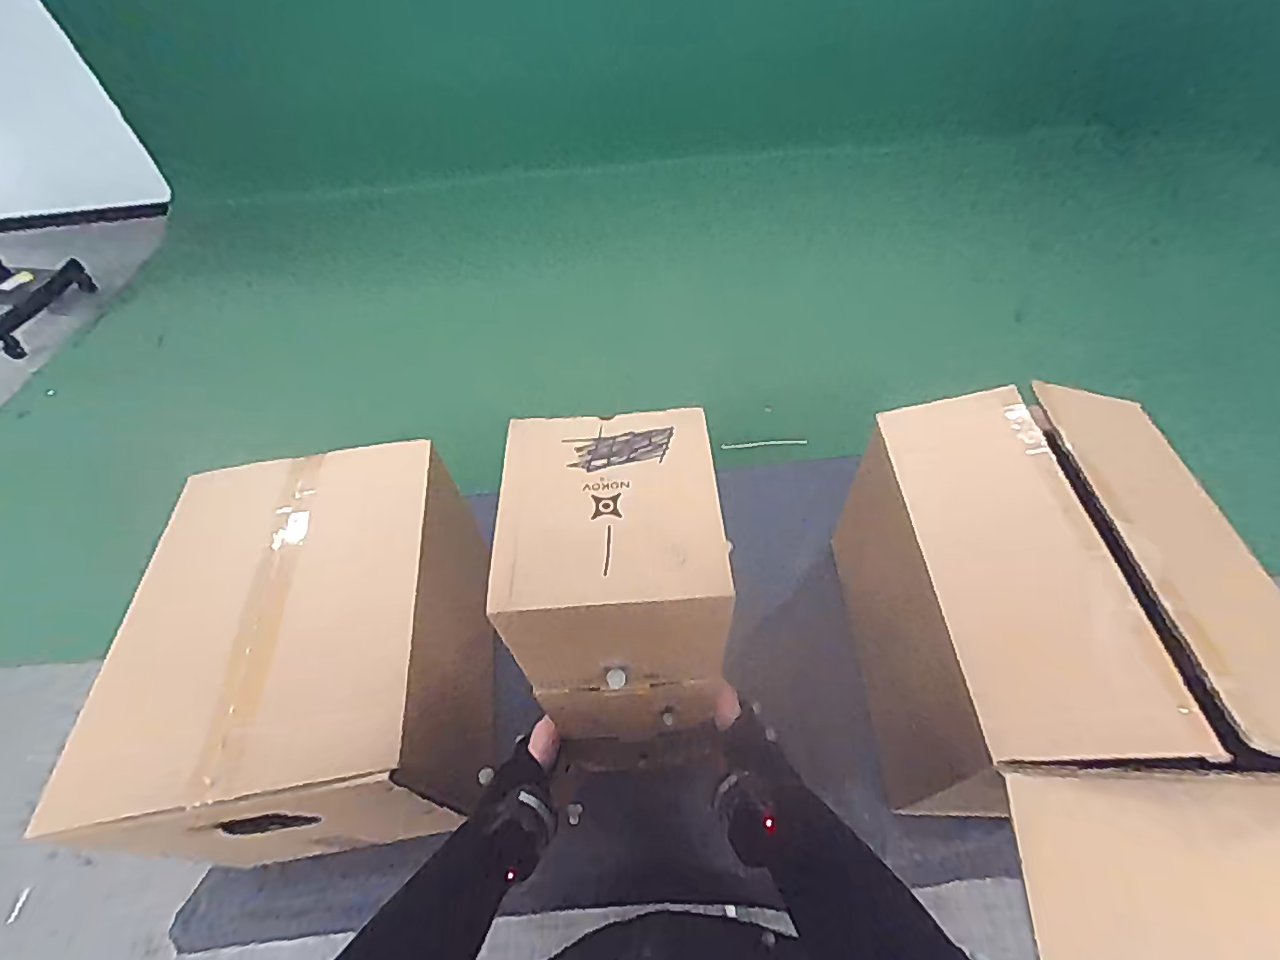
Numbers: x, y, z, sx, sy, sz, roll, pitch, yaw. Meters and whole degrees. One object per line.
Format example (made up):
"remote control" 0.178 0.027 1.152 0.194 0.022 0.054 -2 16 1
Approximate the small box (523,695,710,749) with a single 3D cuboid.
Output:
"small box" -0.019 0.175 0.573 0.168 0.176 0.179 -5 52 0

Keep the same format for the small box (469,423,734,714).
"small box" -0.024 0.076 0.441 0.168 0.176 0.179 -4 54 1
